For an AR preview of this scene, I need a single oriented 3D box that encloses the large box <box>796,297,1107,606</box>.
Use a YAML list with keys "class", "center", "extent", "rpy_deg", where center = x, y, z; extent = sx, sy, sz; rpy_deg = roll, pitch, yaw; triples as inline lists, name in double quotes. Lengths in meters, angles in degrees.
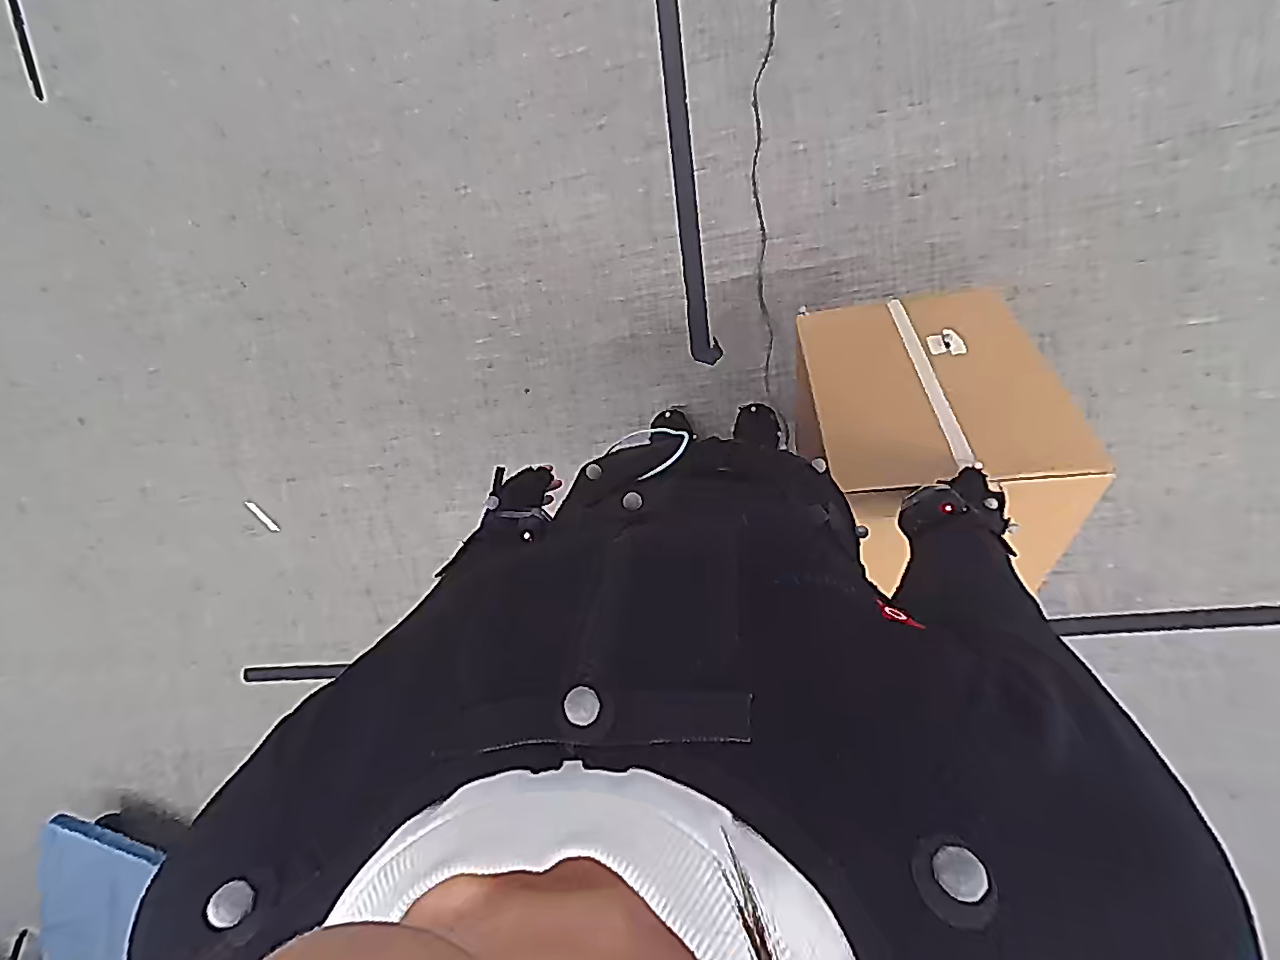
- class: "large box"
  center: [0.446, -0.045, 0.904]
  extent: [0.320, 0.408, 0.320]
  rpy_deg: [-5, 137, 10]
